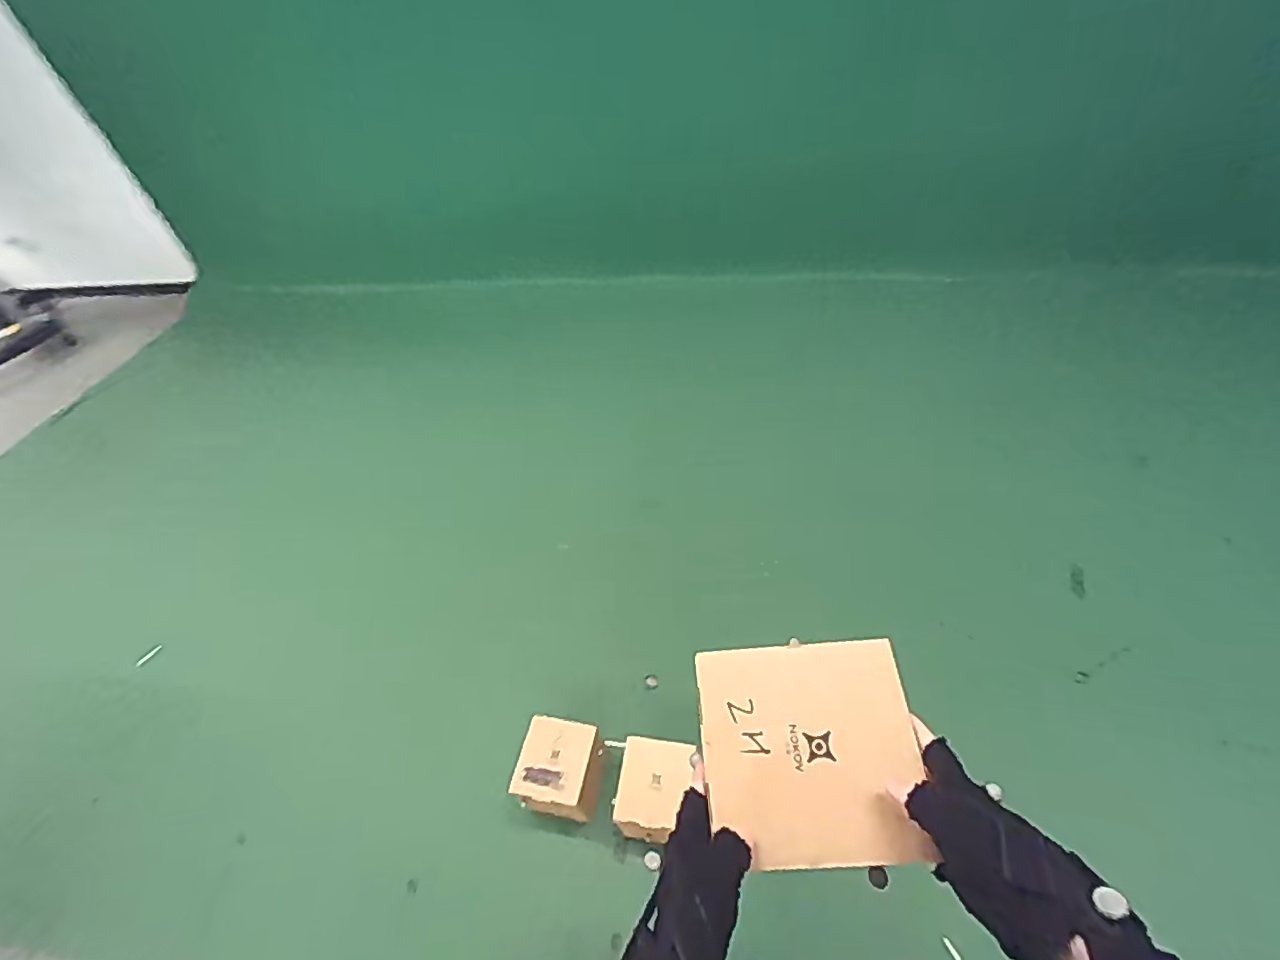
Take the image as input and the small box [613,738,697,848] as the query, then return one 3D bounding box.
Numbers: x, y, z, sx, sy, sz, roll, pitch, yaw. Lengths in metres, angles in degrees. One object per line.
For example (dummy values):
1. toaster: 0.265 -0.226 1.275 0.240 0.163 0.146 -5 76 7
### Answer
1. small box: 0.043 0.730 1.259 0.168 0.176 0.179 3 49 12
